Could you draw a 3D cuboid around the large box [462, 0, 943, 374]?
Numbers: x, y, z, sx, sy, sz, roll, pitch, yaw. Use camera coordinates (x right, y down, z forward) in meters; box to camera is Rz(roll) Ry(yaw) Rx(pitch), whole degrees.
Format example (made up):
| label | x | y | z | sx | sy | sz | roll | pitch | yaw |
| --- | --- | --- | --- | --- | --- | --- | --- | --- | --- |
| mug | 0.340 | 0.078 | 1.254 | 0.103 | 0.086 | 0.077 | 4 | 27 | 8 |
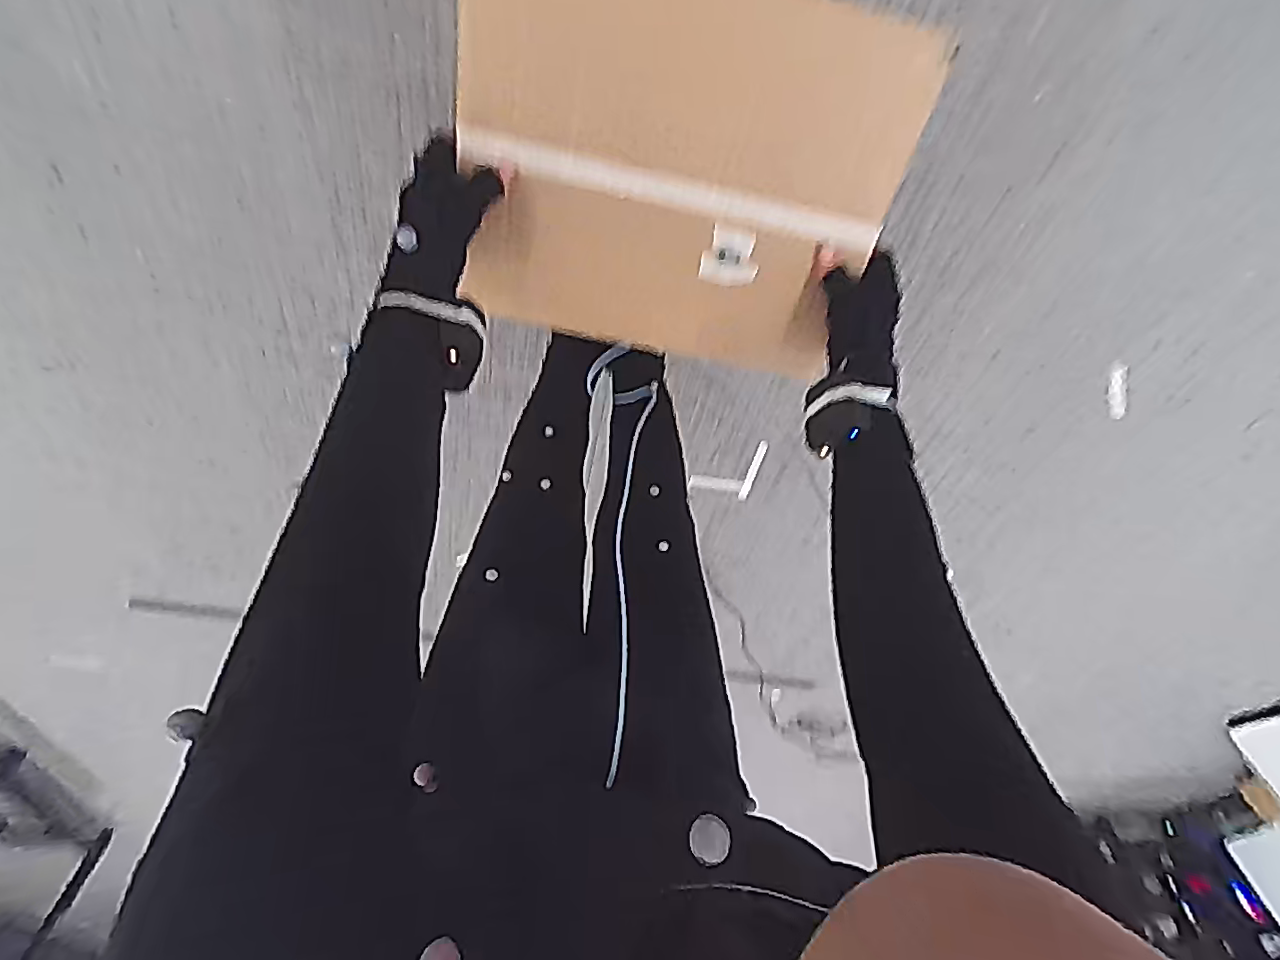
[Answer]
| label | x | y | z | sx | sy | sz | roll | pitch | yaw |
| --- | --- | --- | --- | --- | --- | --- | --- | --- | --- |
| large box | 0.031 | -0.359 | 0.637 | 0.408 | 0.320 | 0.320 | 10 | 125 | -7 |
